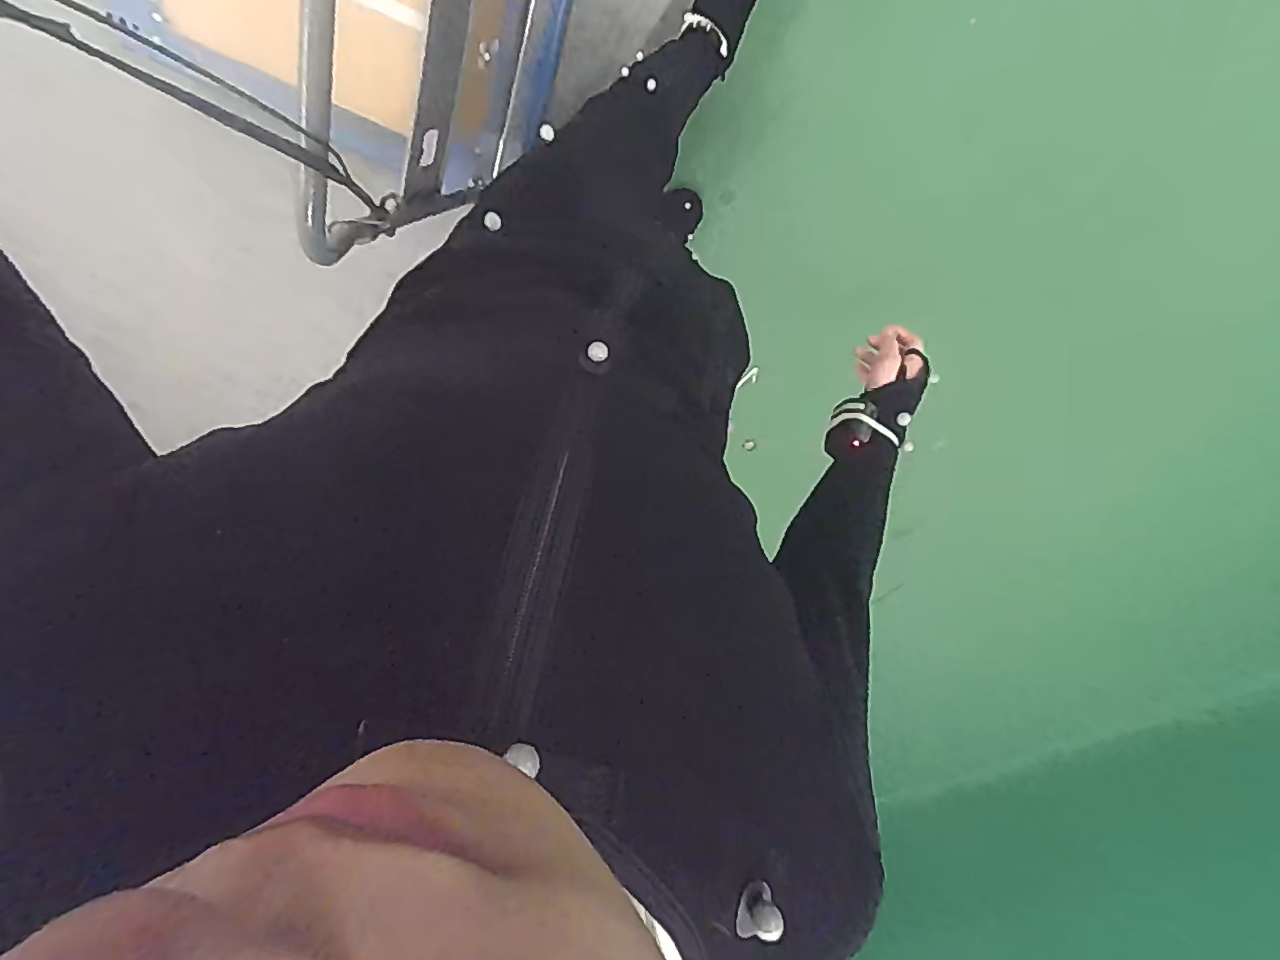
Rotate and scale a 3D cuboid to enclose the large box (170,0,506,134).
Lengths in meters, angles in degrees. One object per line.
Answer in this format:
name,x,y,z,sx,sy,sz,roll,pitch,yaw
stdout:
large box,-0.462,-0.828,0.885,0.408,0.320,0.320,21,126,-8
